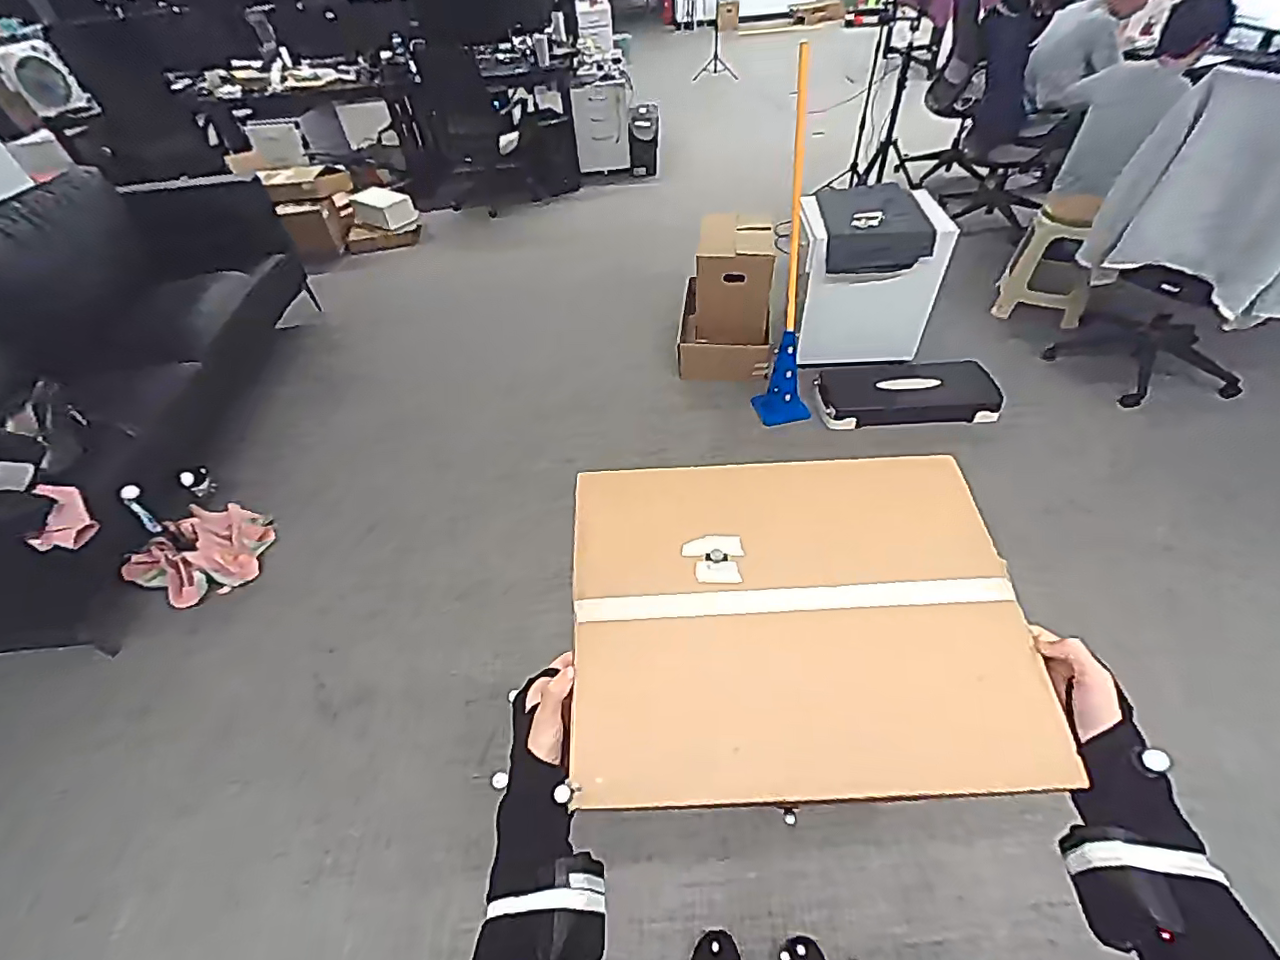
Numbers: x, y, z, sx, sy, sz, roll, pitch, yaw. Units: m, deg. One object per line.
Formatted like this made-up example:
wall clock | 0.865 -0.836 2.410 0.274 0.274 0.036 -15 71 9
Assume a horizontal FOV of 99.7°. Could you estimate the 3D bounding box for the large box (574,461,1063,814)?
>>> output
large box | 0.147 0.200 0.639 0.408 0.320 0.320 -4 58 2
